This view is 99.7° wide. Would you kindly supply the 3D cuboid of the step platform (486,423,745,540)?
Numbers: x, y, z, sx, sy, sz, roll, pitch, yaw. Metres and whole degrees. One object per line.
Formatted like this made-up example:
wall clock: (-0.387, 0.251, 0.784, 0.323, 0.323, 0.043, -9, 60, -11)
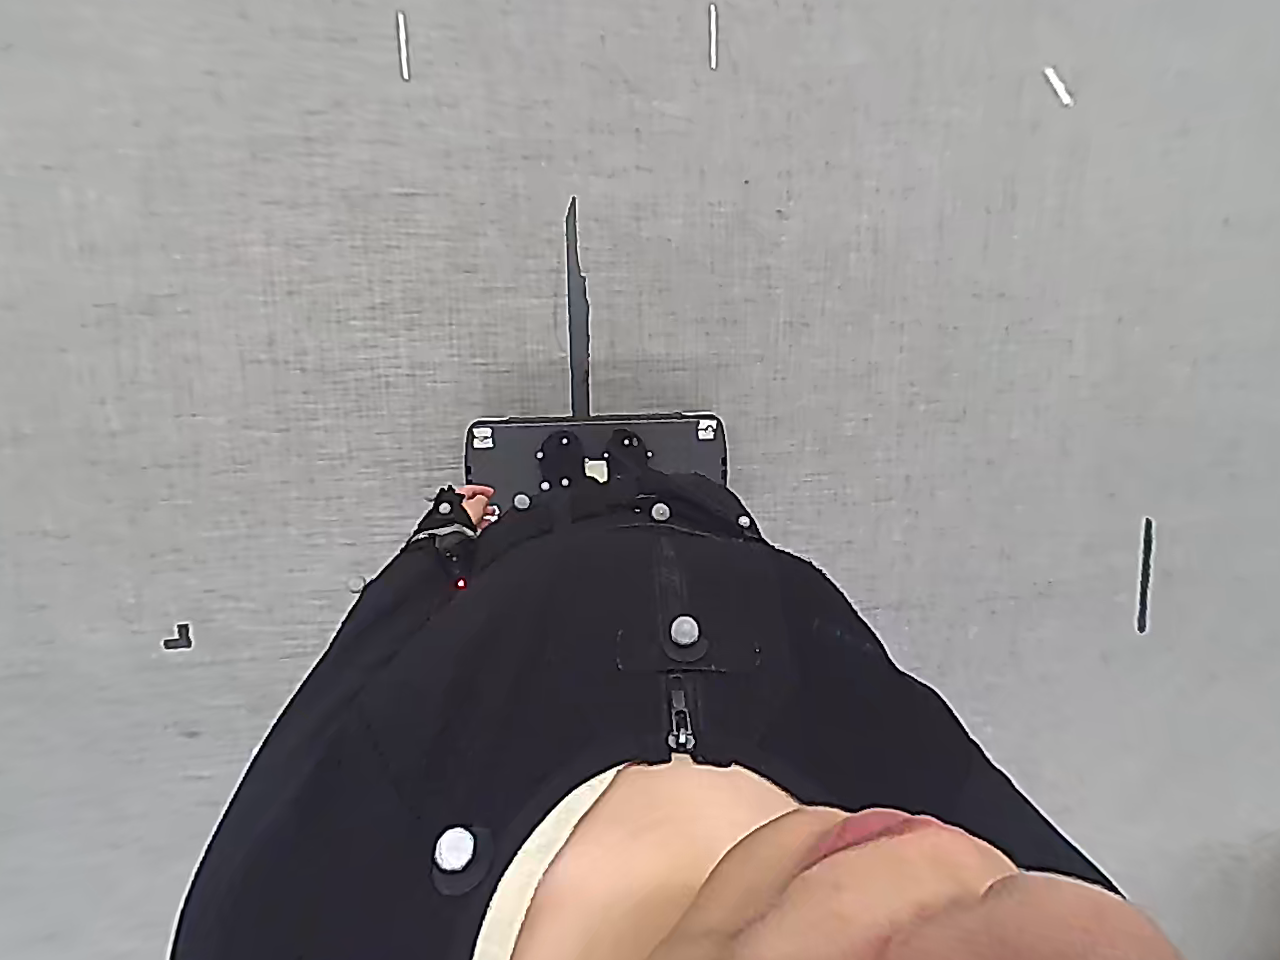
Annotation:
step platform: (-0.064, 0.003, 1.463, 0.684, 0.204, 0.286, 2, 96, -7)
